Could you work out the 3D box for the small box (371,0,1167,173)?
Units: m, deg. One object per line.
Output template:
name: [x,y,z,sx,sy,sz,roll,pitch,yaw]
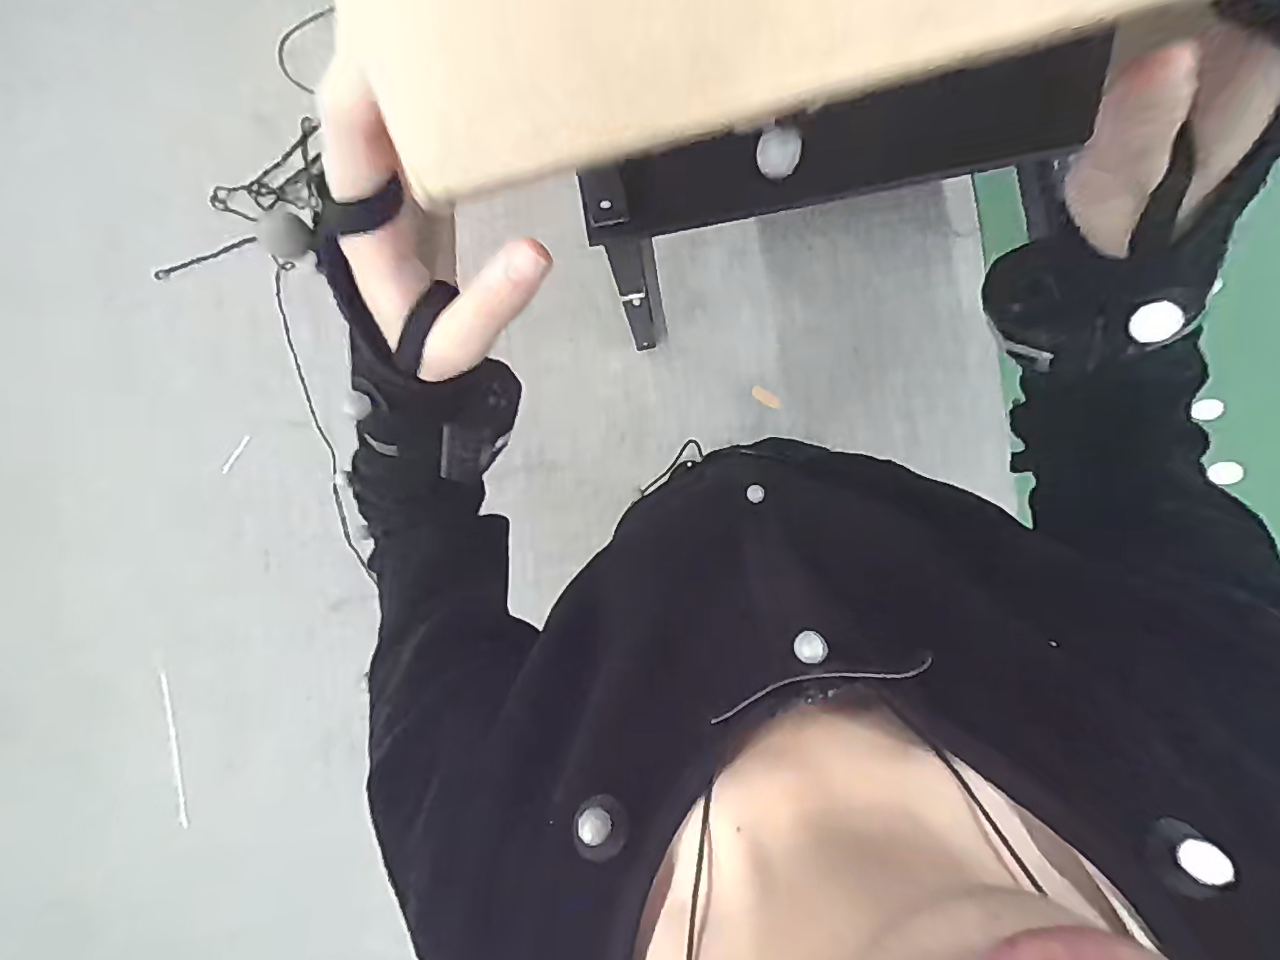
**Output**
small box: [0.030,-0.177,0.108,0.179,0.176,0.168,-11,121,6]
